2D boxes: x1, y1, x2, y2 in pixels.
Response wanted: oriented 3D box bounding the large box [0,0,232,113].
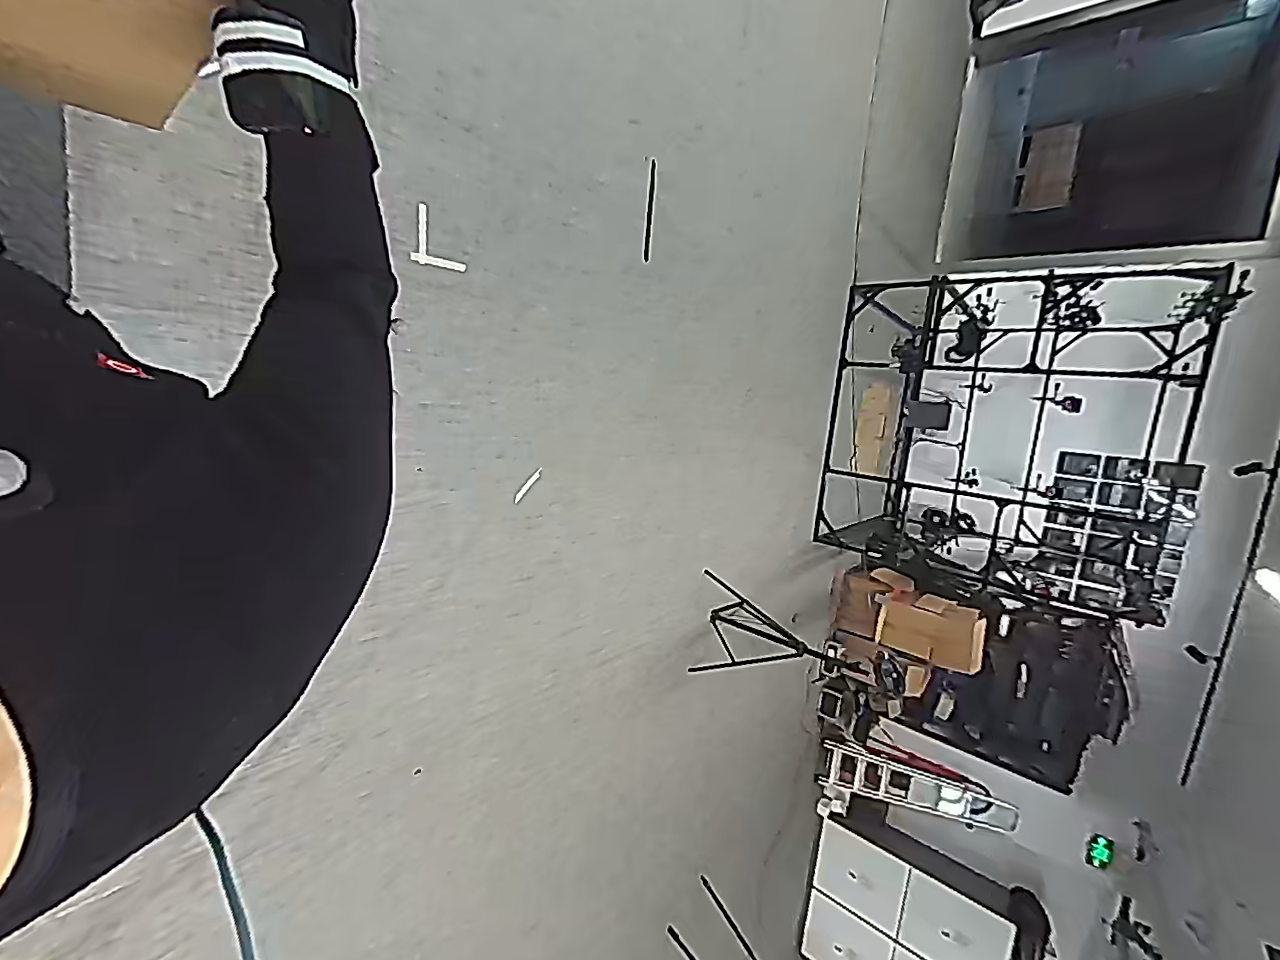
[{"bbox_3d":[-0.484,-0.461,0.261,0.408,0.320,0.320,-10,106,-50],"label":"large box"}]
